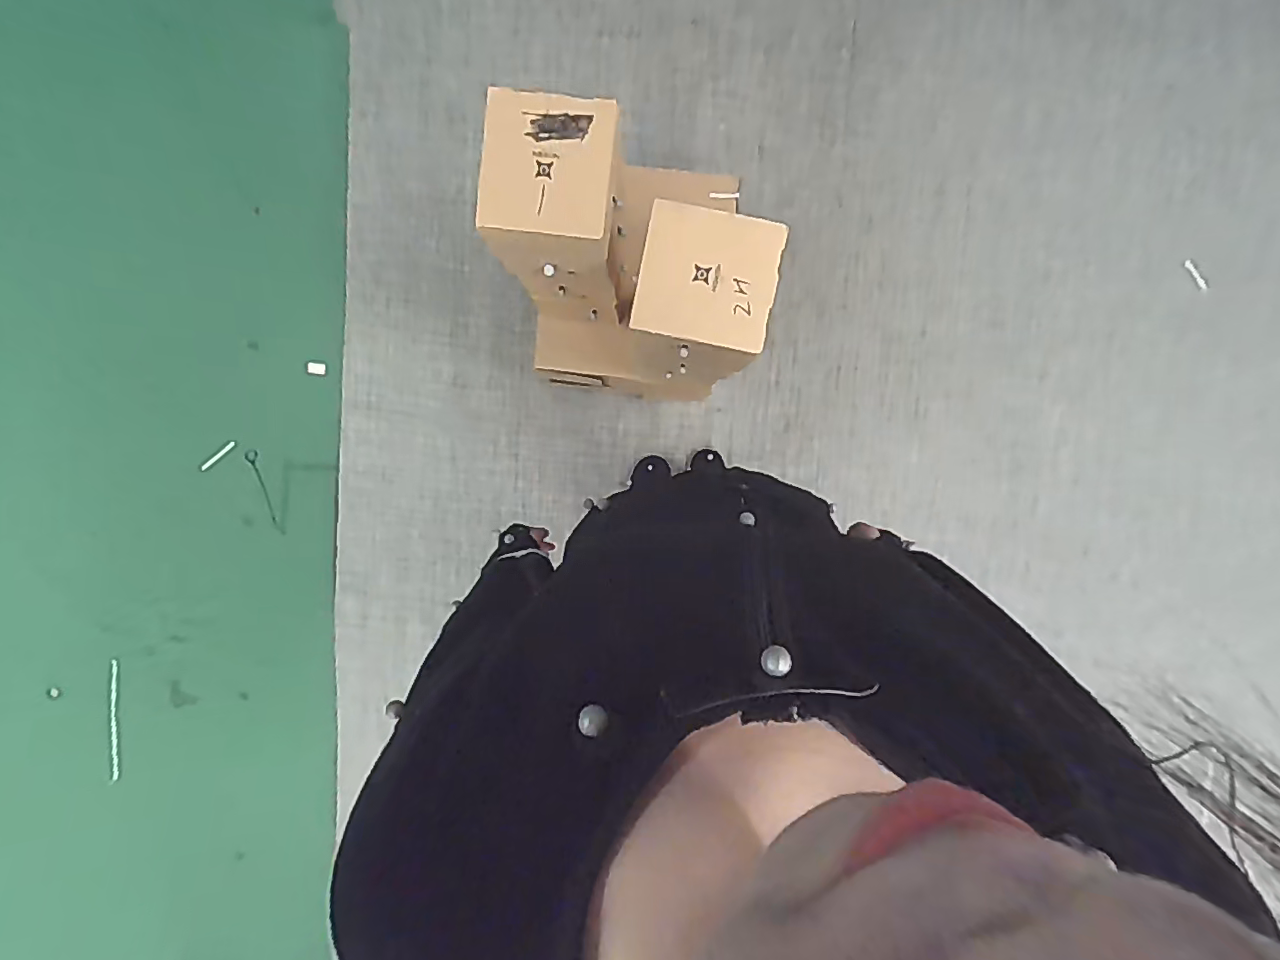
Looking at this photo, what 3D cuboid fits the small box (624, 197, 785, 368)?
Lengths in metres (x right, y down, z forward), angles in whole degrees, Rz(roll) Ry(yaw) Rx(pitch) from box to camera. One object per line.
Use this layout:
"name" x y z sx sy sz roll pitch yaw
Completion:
"small box" 0.082 -0.261 0.758 0.179 0.176 0.168 12 93 0

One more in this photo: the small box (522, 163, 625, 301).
"small box" -0.117 -0.423 0.924 0.168 0.176 0.179 7 94 0

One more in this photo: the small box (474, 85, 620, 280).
"small box" -0.120 -0.403 0.761 0.168 0.176 0.179 7 93 1

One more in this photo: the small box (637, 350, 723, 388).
"small box" 0.086 -0.293 1.087 0.168 0.176 0.179 8 91 0

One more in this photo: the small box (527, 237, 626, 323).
"small box" -0.119 -0.427 1.088 0.168 0.176 0.179 7 91 1
